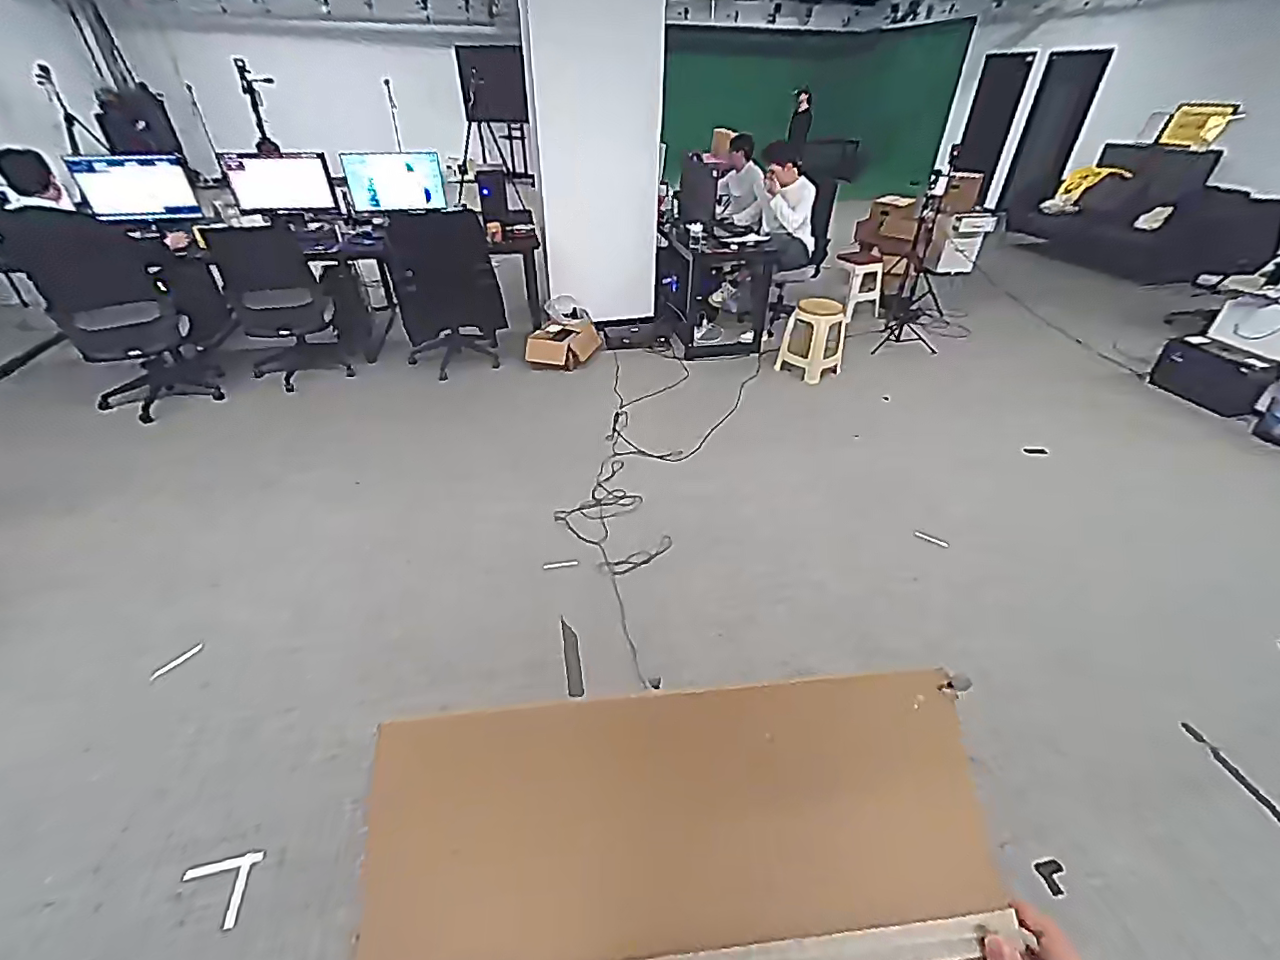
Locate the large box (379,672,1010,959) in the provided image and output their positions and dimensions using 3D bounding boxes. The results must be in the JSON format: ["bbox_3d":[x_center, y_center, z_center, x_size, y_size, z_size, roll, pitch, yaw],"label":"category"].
[{"bbox_3d":[0.029,0.359,0.477,0.408,0.320,0.320,-4,70,-5],"label":"large box"}]
